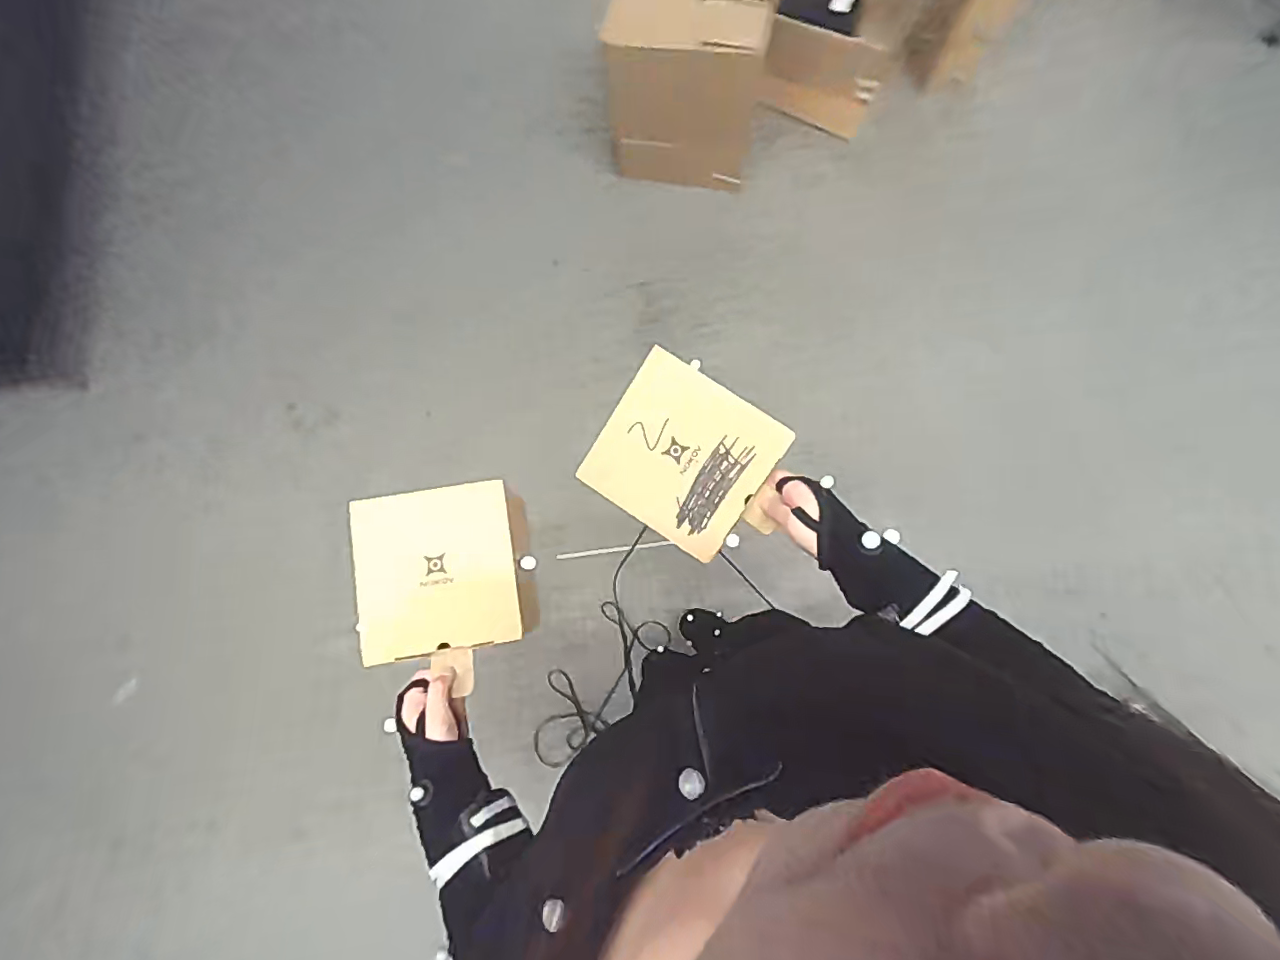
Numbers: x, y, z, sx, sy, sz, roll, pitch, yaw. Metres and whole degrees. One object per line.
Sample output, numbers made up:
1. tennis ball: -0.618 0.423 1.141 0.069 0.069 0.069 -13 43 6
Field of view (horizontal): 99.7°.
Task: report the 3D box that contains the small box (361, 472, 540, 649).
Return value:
1. small box: -0.219 0.097 0.661 0.168 0.176 0.179 -7 82 -5
